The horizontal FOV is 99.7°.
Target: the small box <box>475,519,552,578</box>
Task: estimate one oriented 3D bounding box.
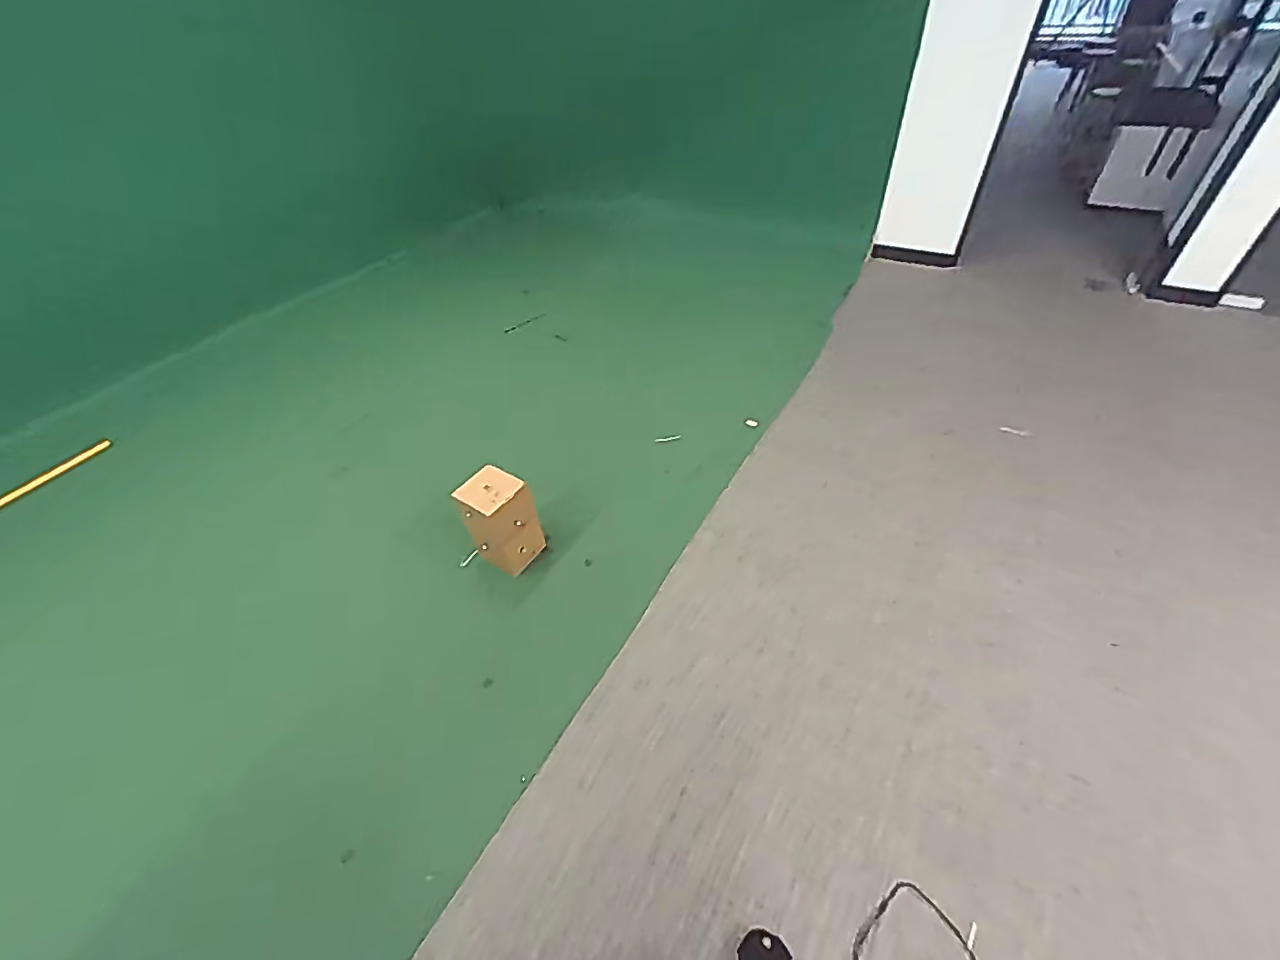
[{"bbox_3d":[-0.432,0.215,1.880,0.179,0.176,0.168,20,52,26],"label":"small box"}]

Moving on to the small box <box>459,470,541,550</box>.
[{"bbox_3d":[-0.451,0.101,1.761,0.179,0.176,0.168,23,53,27],"label":"small box"}]
